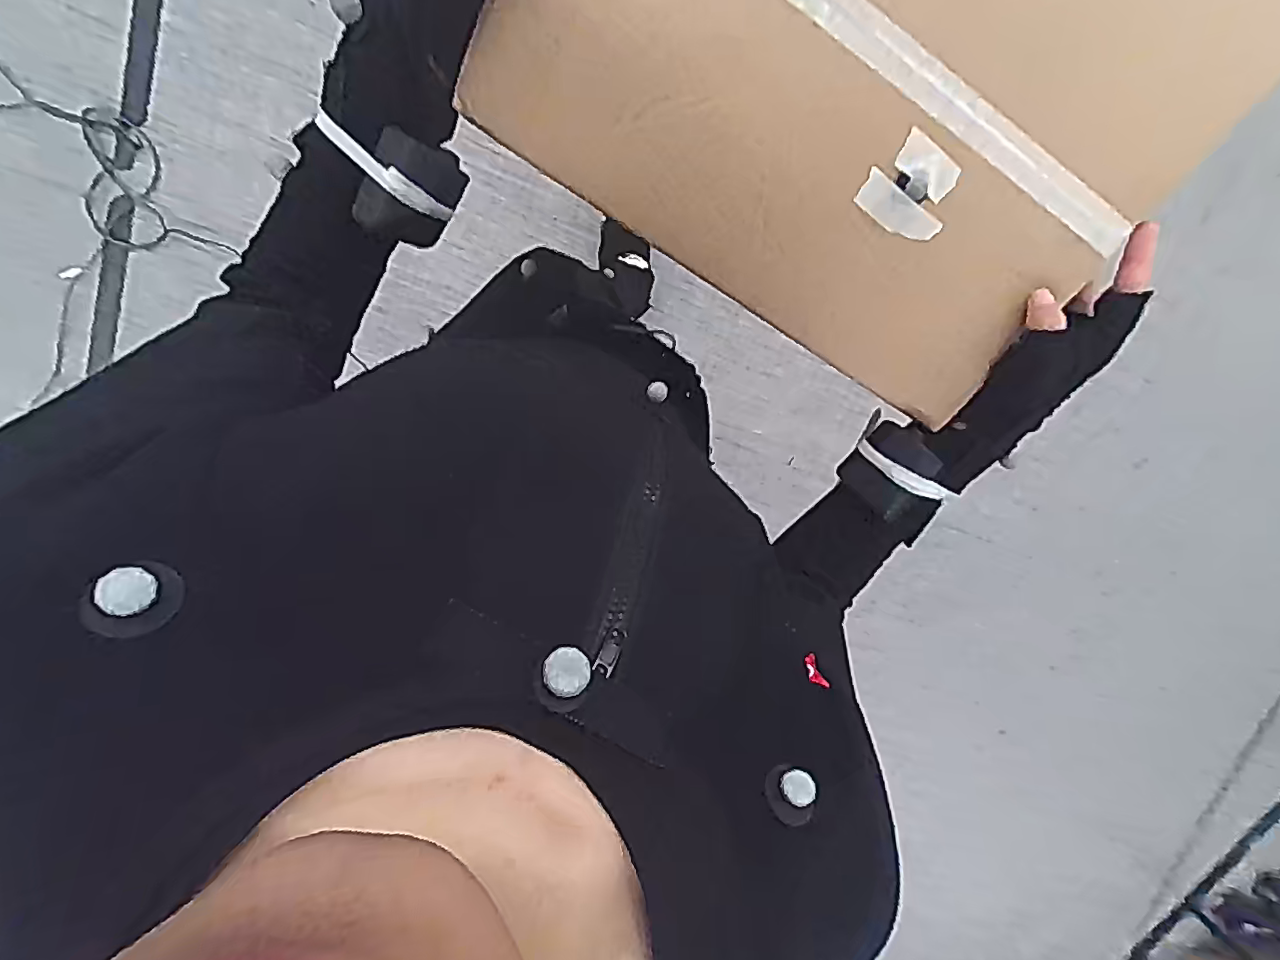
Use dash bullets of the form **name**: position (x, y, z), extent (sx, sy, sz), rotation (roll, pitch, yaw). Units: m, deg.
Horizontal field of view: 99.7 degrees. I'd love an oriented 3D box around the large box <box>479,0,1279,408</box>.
- **large box**: position (0.146, -0.330, 0.450), extent (0.408, 0.320, 0.320), rotation (29, 117, -13)
